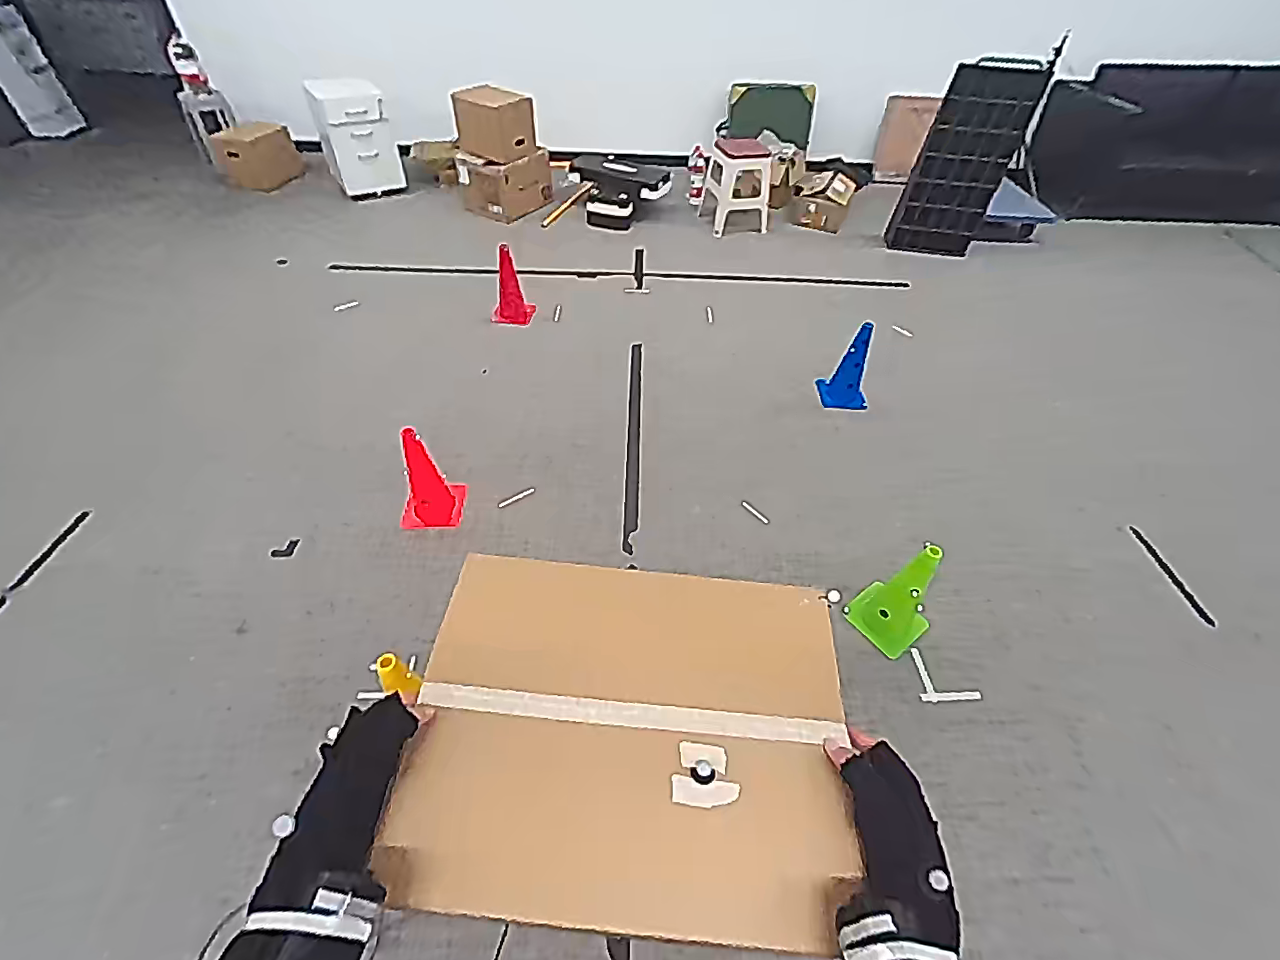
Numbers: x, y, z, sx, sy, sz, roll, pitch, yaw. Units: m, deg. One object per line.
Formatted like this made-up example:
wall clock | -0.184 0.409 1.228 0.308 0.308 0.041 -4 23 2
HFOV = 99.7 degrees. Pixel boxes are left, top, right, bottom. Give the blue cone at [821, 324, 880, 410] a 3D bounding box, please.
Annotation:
blue cone | 0.932 -0.495 2.321 0.192 0.380 0.193 5 47 0

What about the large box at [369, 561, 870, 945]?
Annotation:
large box | -0.016 0.321 0.628 0.408 0.320 0.320 6 50 1

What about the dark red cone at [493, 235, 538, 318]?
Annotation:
dark red cone | -0.628 -0.997 2.648 0.201 0.394 0.202 7 47 2

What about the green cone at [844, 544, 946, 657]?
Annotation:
green cone | 0.770 0.309 1.541 0.202 0.368 0.200 -27 55 -27

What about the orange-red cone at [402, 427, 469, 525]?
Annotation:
orange-red cone | -0.710 -0.032 1.780 0.198 0.360 0.199 -1 49 -2
